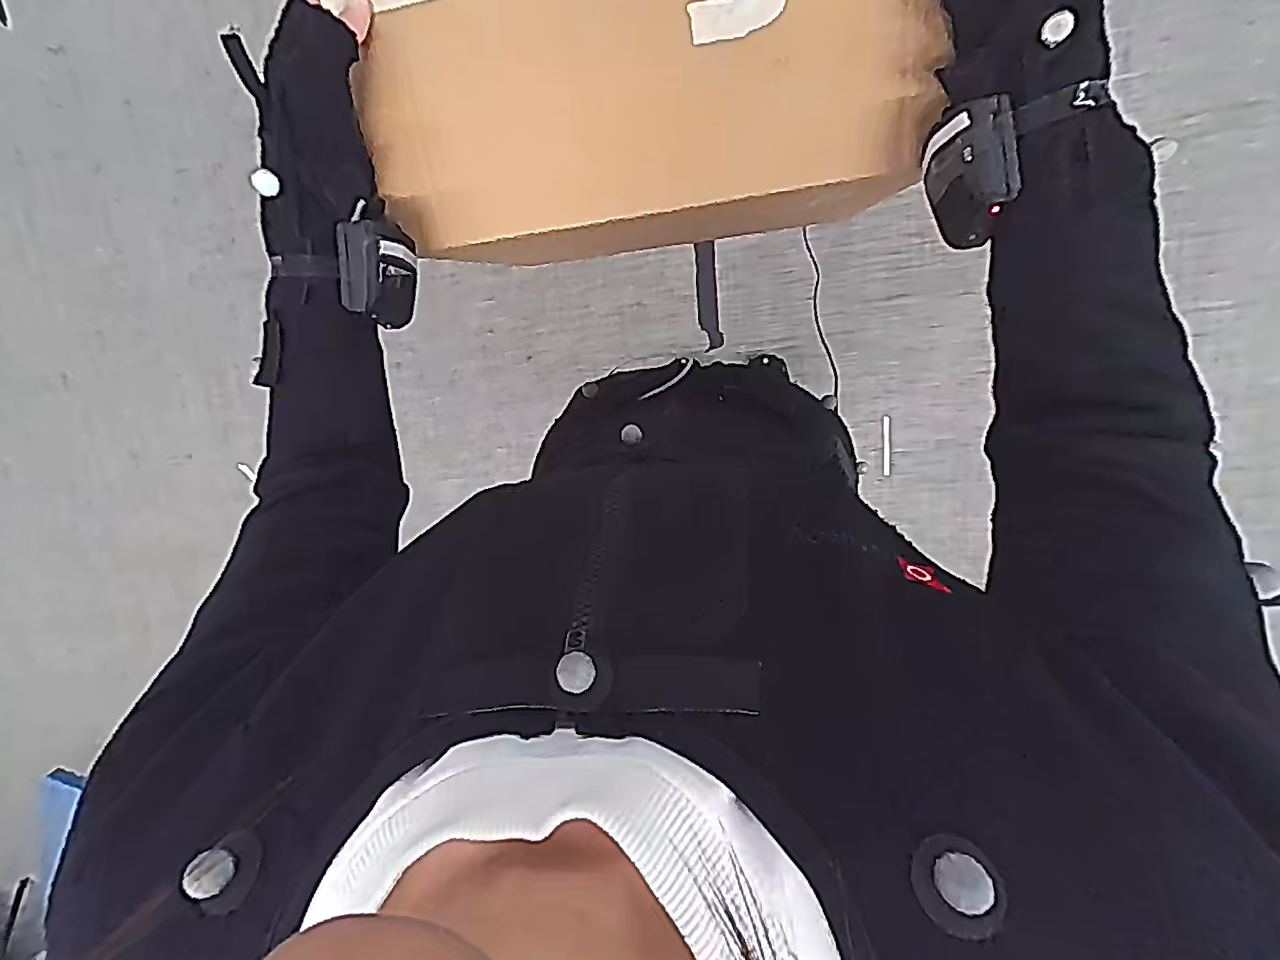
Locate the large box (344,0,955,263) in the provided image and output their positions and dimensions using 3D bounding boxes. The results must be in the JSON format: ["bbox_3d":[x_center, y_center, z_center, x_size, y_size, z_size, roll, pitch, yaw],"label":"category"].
[{"bbox_3d":[0.006,-0.394,0.481,0.408,0.320,0.320,-5,110,9],"label":"large box"}]
